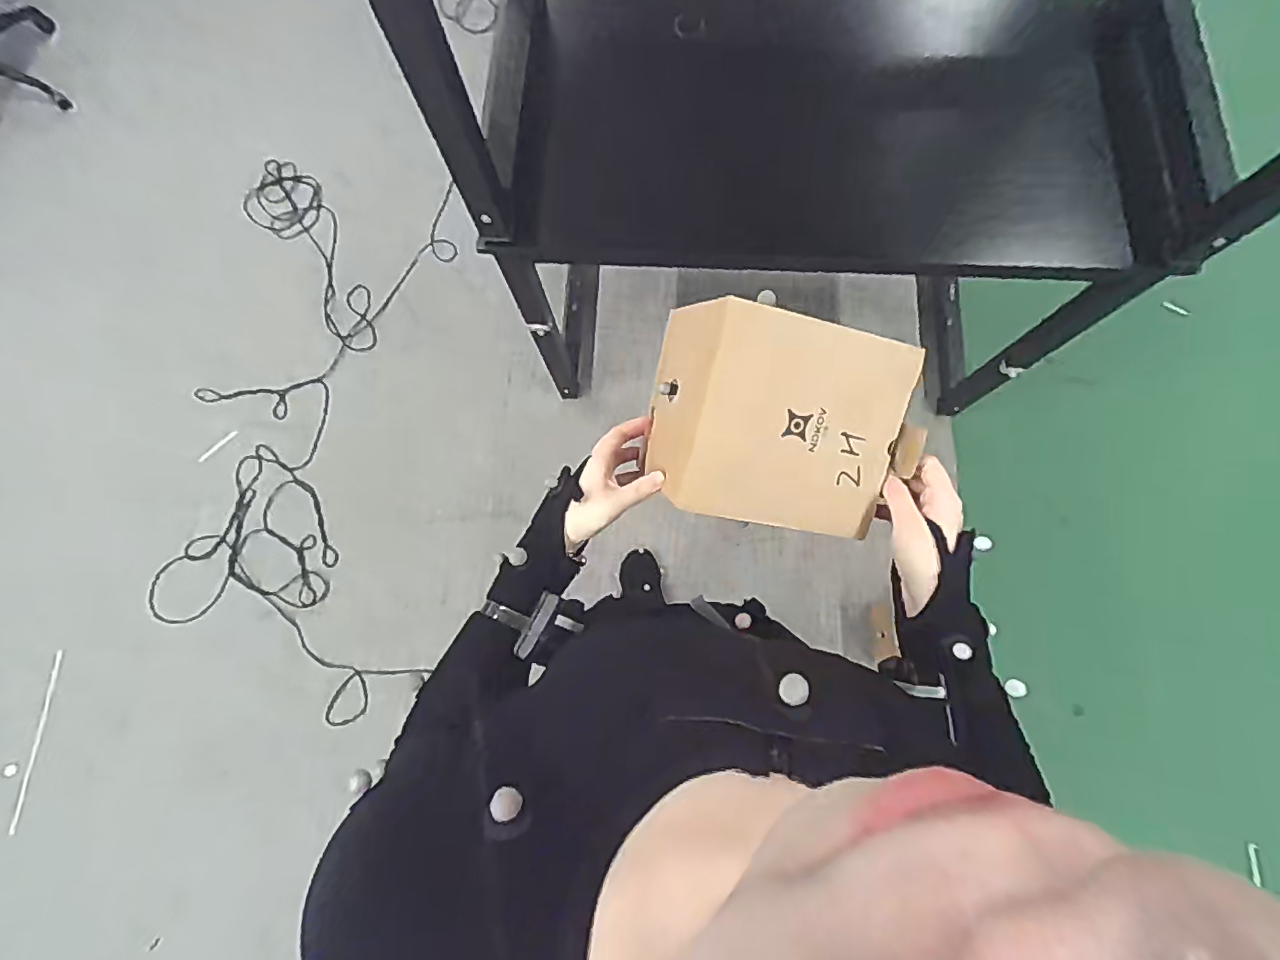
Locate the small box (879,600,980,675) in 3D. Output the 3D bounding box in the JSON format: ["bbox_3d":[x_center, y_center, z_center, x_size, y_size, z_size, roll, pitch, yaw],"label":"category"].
[{"bbox_3d":[0.718,0.393,1.364,0.179,0.176,0.168,2,77,3],"label":"small box"}]

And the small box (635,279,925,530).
[{"bbox_3d":[0.104,-0.069,0.487,0.179,0.176,0.168,9,103,-15],"label":"small box"}]
